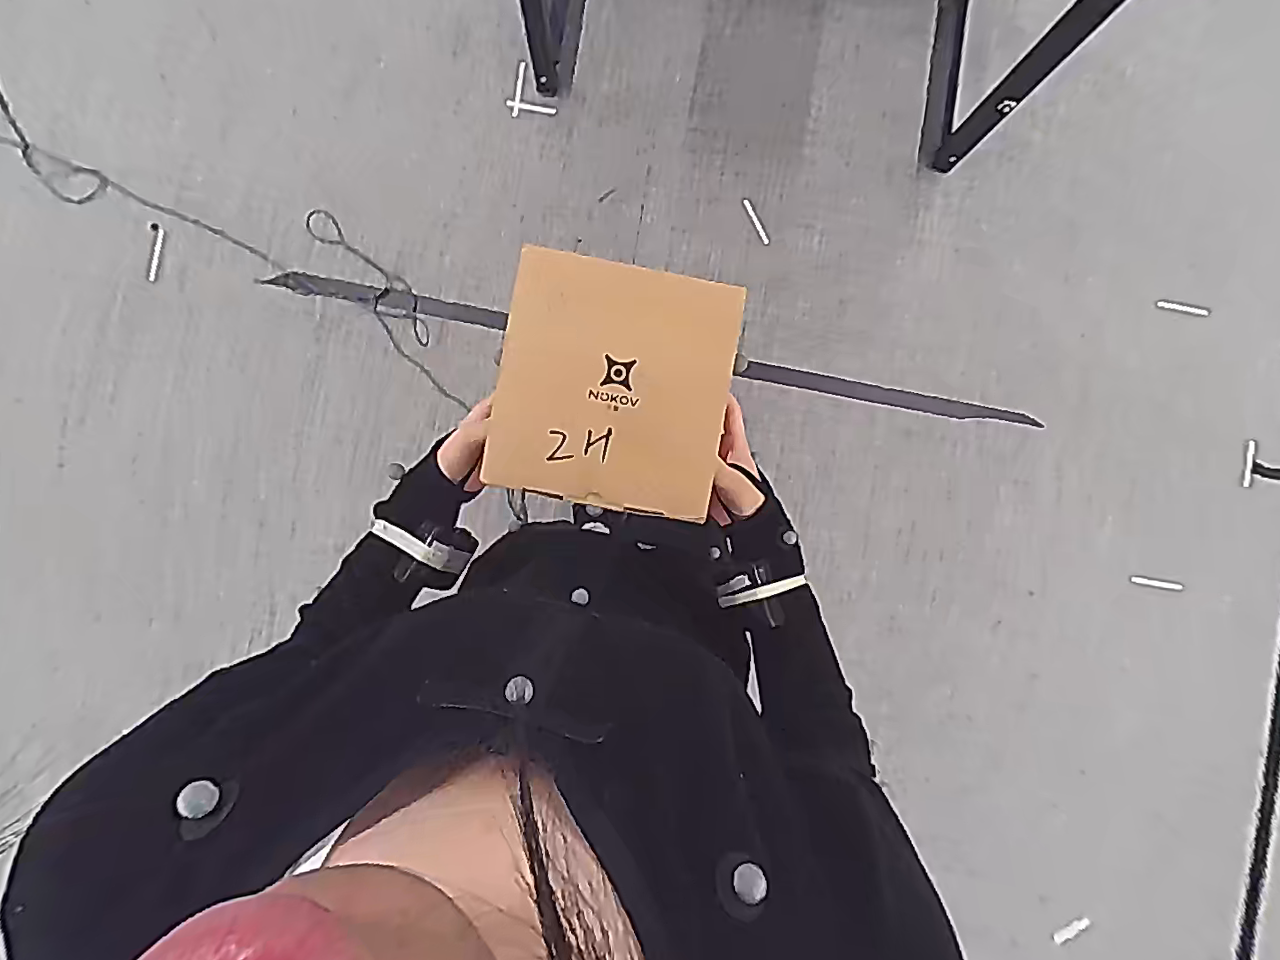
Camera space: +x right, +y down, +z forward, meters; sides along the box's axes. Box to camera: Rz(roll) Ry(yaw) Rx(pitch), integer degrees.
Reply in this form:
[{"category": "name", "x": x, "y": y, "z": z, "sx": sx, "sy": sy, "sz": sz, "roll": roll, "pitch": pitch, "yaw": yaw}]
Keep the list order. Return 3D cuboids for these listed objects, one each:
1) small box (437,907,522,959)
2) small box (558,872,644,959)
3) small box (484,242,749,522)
[{"category": "small box", "x": -0.407, "y": 1.227, "z": 1.369, "sx": 0.179, "sy": 0.176, "sz": 0.168, "roll": 4, "pitch": 90, "yaw": -2}, {"category": "small box", "x": -0.101, "y": 1.150, "z": 1.381, "sx": 0.179, "sy": 0.176, "sz": 0.168, "roll": 17, "pitch": 88, "yaw": -4}, {"category": "small box", "x": -0.020, "y": -0.069, "z": 0.466, "sx": 0.168, "sy": 0.176, "sz": 0.179, "roll": 11, "pitch": 90, "yaw": -3}]
